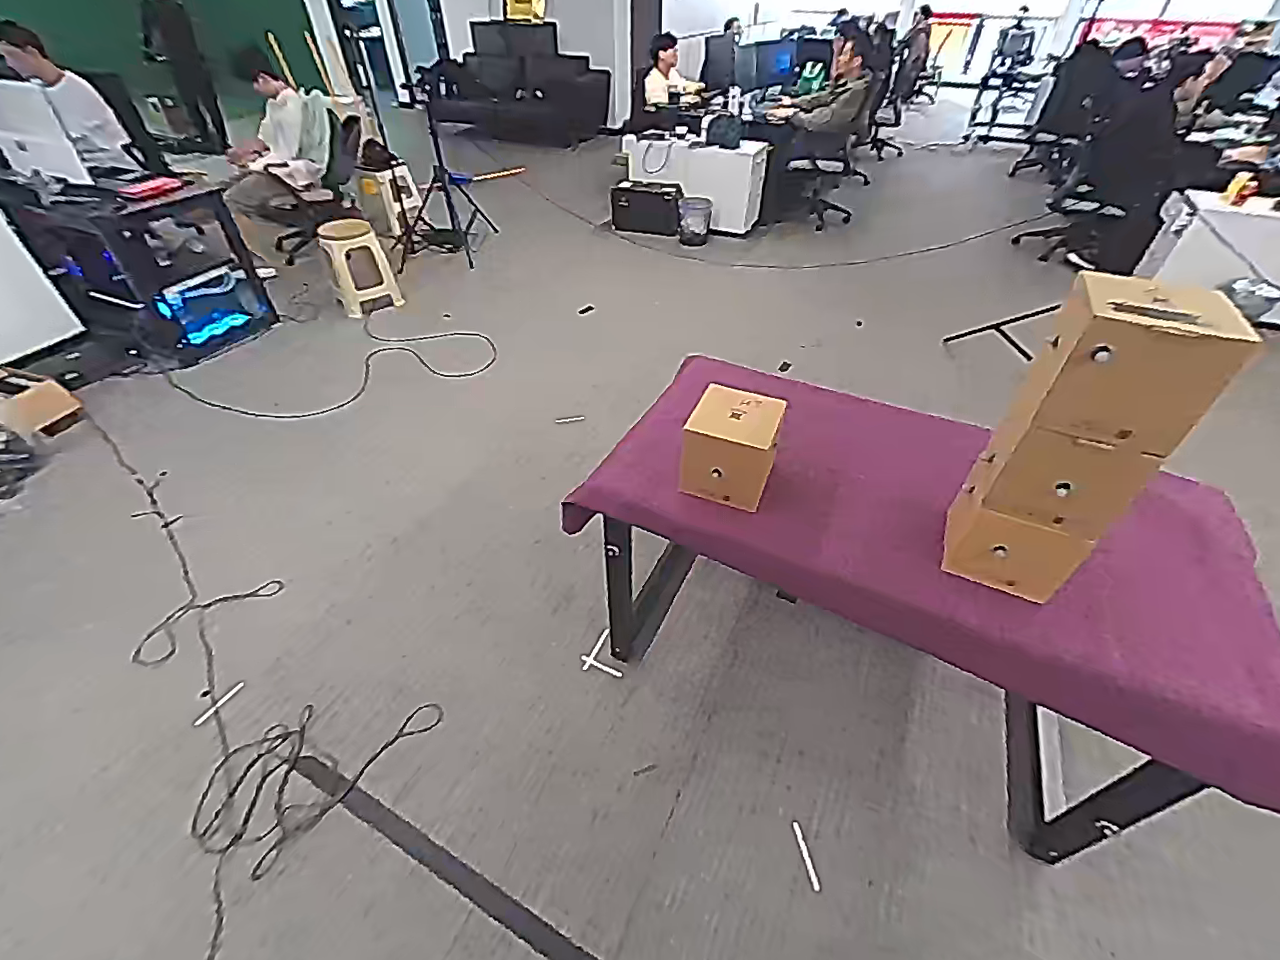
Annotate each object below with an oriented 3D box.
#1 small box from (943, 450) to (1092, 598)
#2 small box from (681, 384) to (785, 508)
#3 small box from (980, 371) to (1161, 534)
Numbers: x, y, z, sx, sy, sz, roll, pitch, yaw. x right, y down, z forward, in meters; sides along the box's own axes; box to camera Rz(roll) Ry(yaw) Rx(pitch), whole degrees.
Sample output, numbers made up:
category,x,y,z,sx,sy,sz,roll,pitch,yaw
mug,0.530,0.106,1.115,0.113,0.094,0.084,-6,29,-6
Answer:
category,x,y,z,sx,sy,sz,roll,pitch,yaw
small box,0.663,0.080,0.967,0.168,0.176,0.179,19,45,19
small box,0.188,-0.068,1.116,0.168,0.176,0.179,17,44,16
small box,0.667,-0.044,0.859,0.168,0.176,0.179,20,46,20
